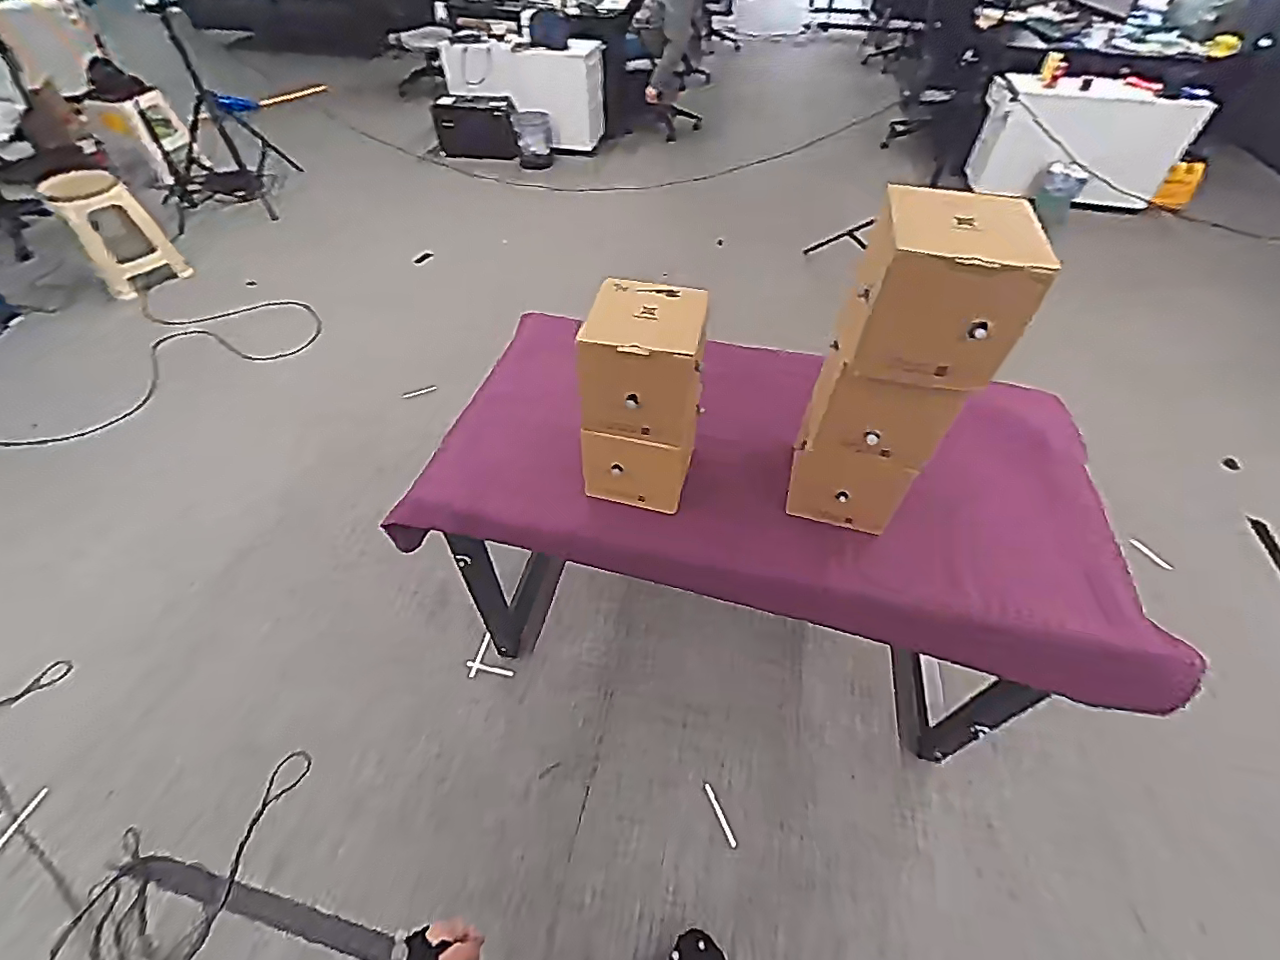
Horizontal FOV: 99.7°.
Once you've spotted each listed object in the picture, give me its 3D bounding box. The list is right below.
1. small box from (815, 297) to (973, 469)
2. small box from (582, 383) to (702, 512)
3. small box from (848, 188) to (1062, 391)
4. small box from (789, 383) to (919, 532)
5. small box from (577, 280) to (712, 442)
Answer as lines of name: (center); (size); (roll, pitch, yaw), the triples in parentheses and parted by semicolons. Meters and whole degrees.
small box: (0.368, -0.145, 0.809); (0.168, 0.176, 0.179); (13, 51, 10)
small box: (0.008, -0.068, 0.952); (0.168, 0.176, 0.179); (12, 49, 9)
small box: (0.368, -0.234, 0.671); (0.168, 0.176, 0.179); (11, 50, 7)
small box: (0.362, -0.036, 0.932); (0.168, 0.176, 0.179); (14, 50, 10)
small box: (0.011, -0.180, 0.832); (0.168, 0.176, 0.179); (10, 49, 7)
